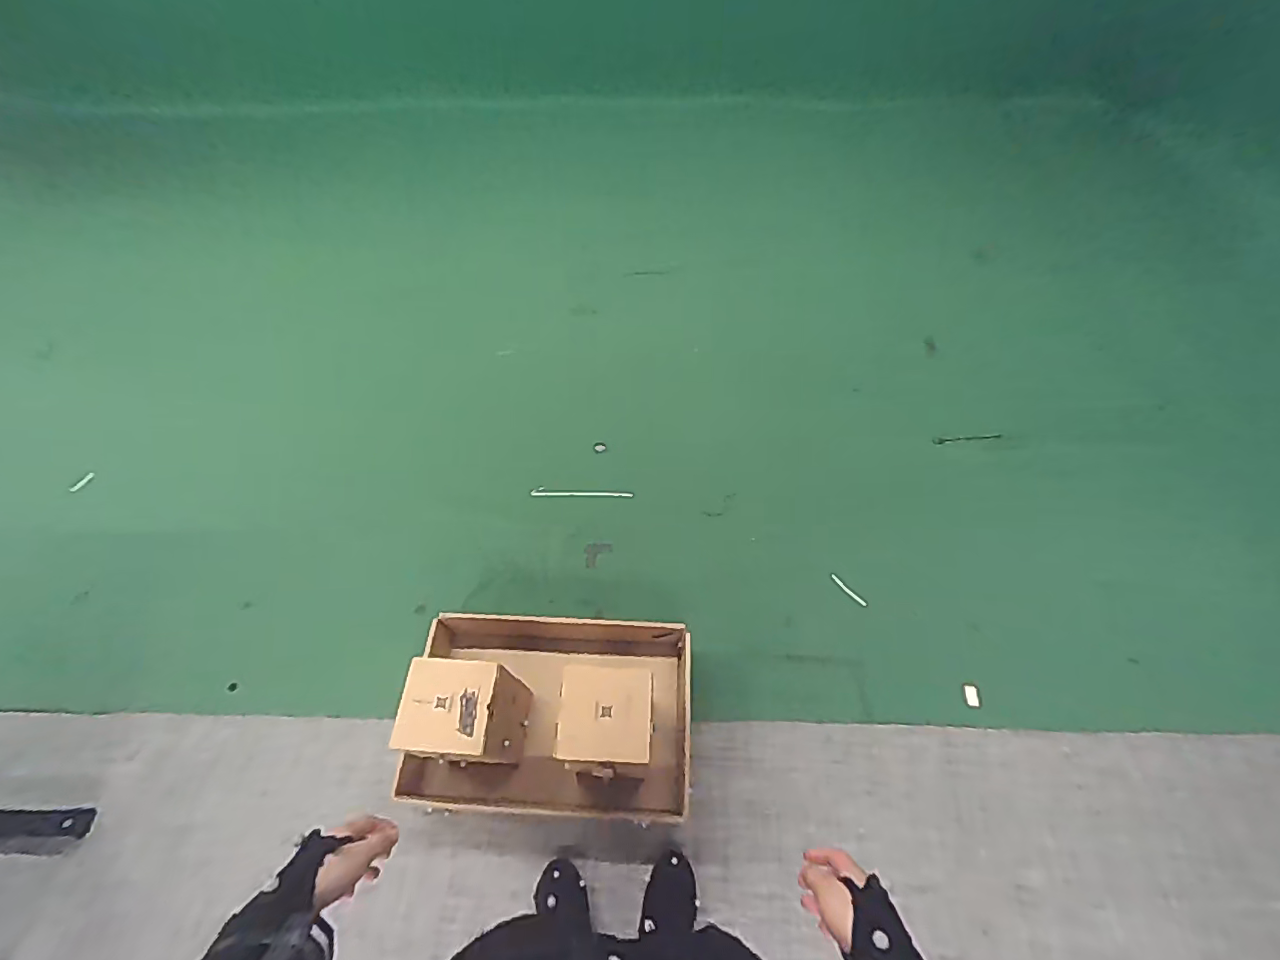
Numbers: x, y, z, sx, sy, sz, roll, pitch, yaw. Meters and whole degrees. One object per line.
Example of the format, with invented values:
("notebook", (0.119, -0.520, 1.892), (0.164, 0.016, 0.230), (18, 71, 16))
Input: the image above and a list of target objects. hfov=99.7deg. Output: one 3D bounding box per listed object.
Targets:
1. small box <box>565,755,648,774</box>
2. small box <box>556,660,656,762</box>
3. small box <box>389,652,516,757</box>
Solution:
("small box", (-0.062, 0.549, 1.204), (0.168, 0.176, 0.179), (3, 60, 4))
("small box", (-0.060, 0.459, 1.067), (0.179, 0.176, 0.168), (1, 61, 2))
("small box", (-0.358, 0.449, 1.074), (0.179, 0.176, 0.168), (3, 59, 3))
